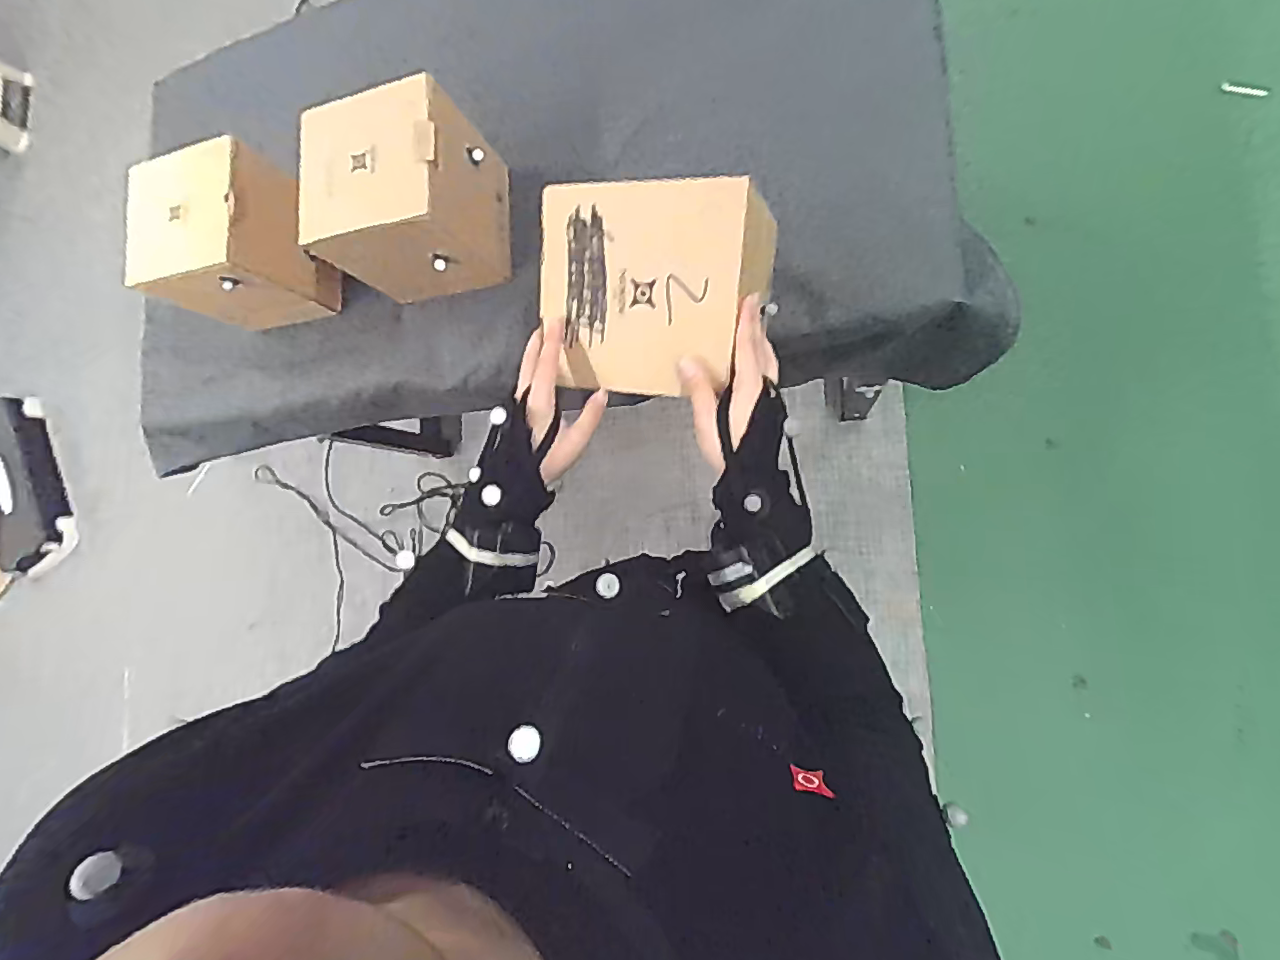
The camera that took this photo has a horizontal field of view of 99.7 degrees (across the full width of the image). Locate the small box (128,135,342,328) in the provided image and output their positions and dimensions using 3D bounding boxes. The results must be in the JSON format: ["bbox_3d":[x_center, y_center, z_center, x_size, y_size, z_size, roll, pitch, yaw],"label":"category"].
[{"bbox_3d":[-0.547,-0.326,0.748,0.179,0.176,0.168,-5,84,15],"label":"small box"}]

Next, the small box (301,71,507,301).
[{"bbox_3d":[-0.279,-0.343,0.668,0.179,0.176,0.168,-5,83,18],"label":"small box"}]
